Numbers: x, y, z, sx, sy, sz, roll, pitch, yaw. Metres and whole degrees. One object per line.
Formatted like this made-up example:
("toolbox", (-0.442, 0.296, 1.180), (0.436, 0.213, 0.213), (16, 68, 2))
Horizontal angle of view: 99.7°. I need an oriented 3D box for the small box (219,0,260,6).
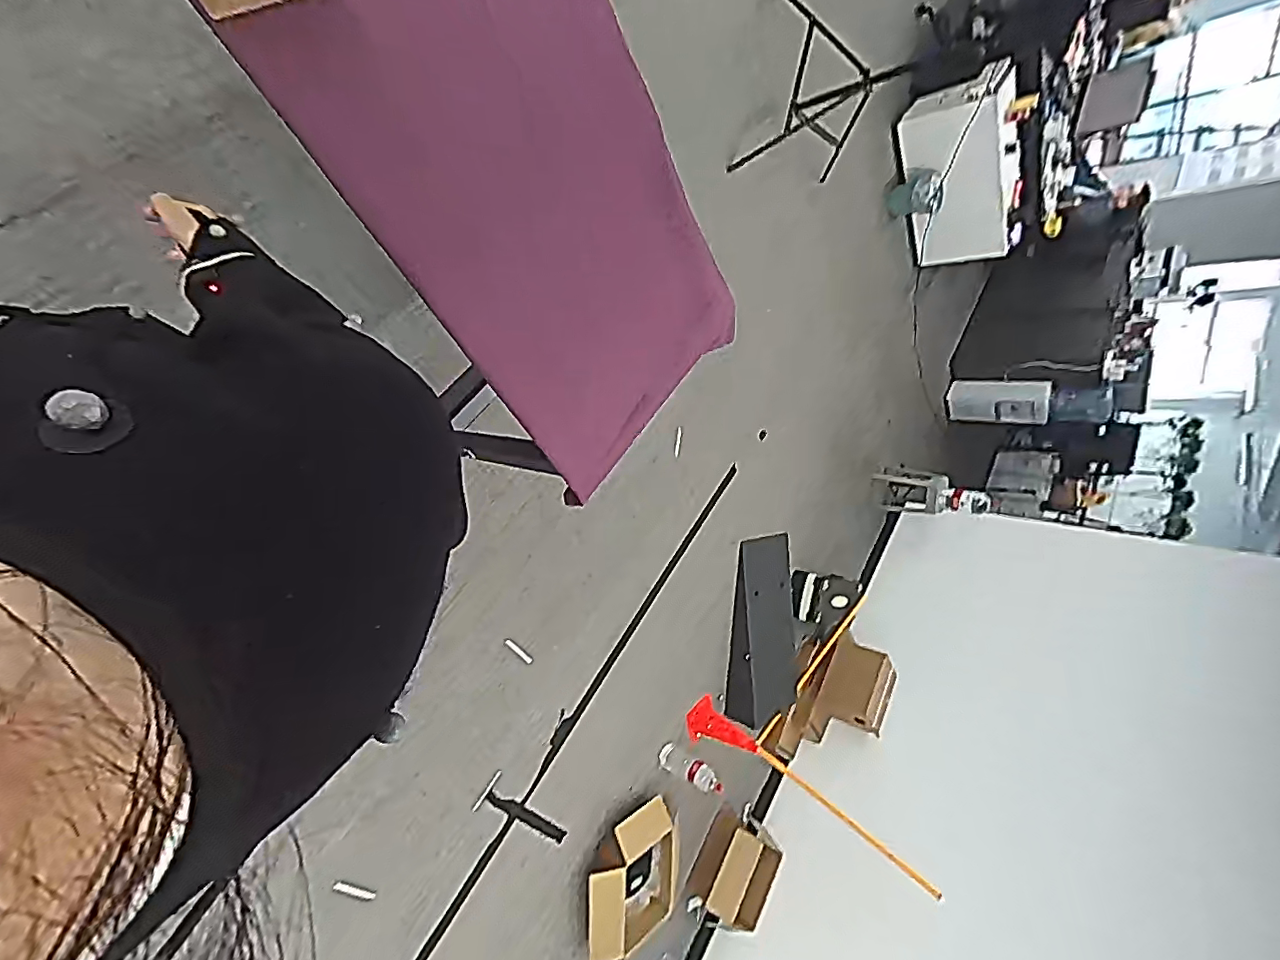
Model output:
("small box", (-0.390, -0.603, 0.520), (0.168, 0.176, 0.179), (-50, 129, -28))
